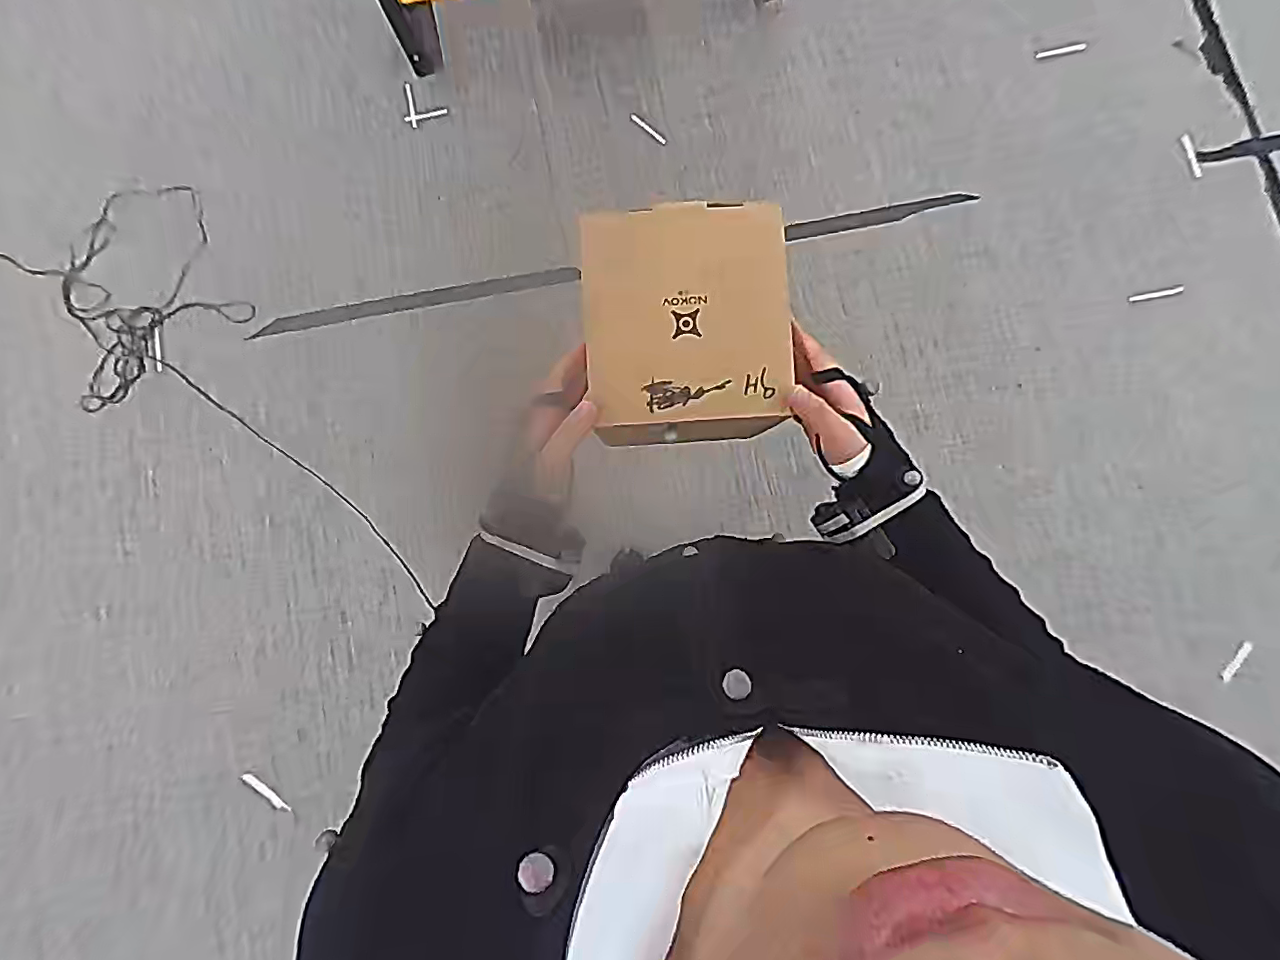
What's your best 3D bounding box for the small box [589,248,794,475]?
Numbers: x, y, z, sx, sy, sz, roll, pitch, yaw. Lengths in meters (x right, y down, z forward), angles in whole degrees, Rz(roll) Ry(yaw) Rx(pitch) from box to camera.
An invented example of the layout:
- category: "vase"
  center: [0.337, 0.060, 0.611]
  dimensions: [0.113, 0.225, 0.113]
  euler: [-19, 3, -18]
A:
- category: "small box"
  center: [0.040, -0.100, 0.525]
  dimensions: [0.168, 0.176, 0.179]
  euler: [-3, 88, 0]
